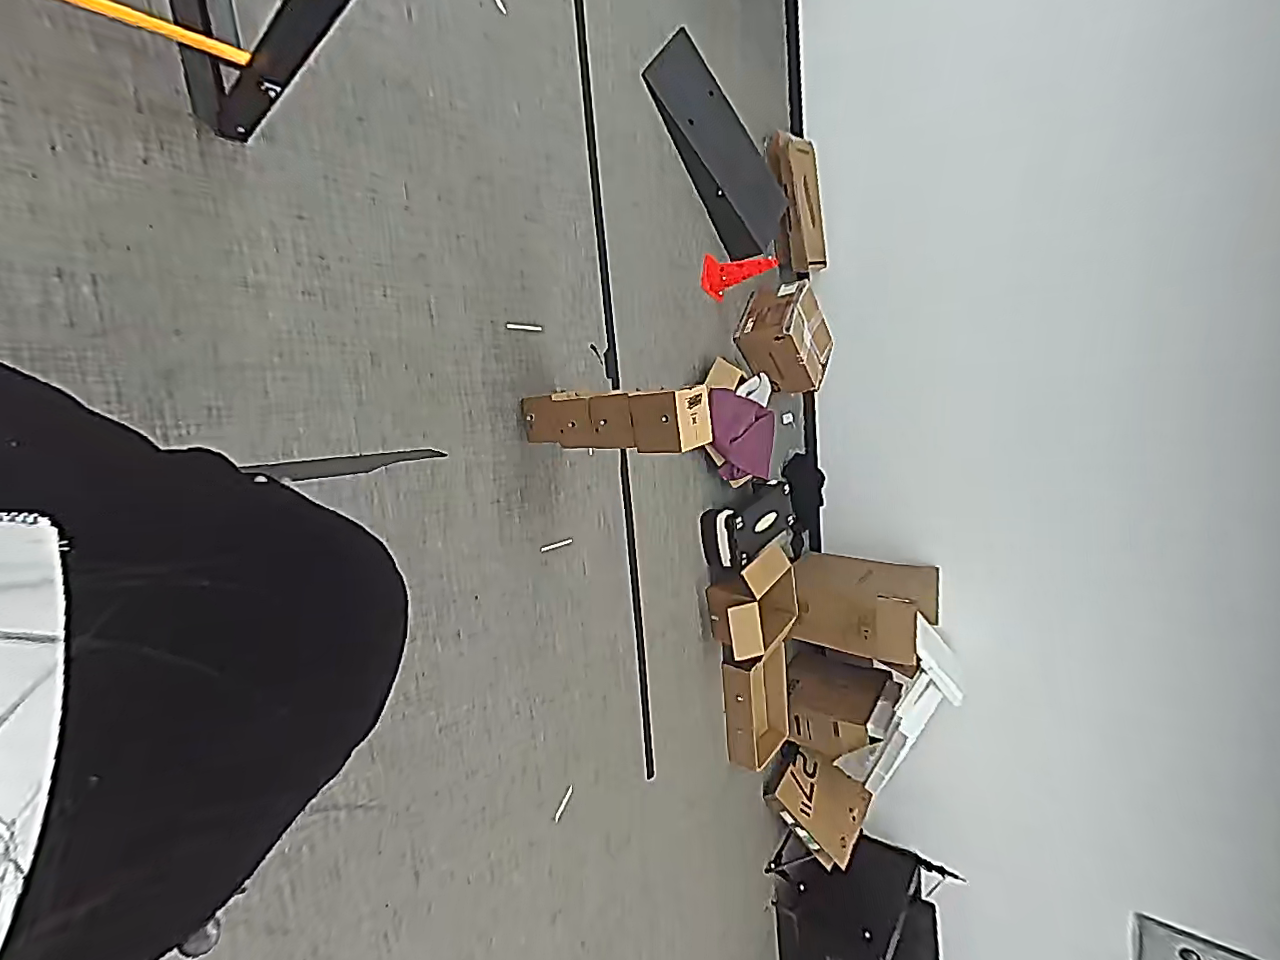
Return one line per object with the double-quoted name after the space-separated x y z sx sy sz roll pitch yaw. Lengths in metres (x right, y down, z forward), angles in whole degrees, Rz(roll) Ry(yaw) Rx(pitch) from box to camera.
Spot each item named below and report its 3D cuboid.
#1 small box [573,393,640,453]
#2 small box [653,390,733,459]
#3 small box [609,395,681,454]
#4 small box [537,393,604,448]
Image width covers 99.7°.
-0.105 -0.186 1.790 0.179 0.176 0.168 -24 110 -47 "small box"
0.154 -0.161 1.586 0.168 0.176 0.179 -23 109 -48 "small box"
0.026 -0.174 1.688 0.179 0.176 0.168 -18 104 -49 "small box"
-0.232 -0.209 1.892 0.179 0.176 0.168 -23 108 -46 "small box"
